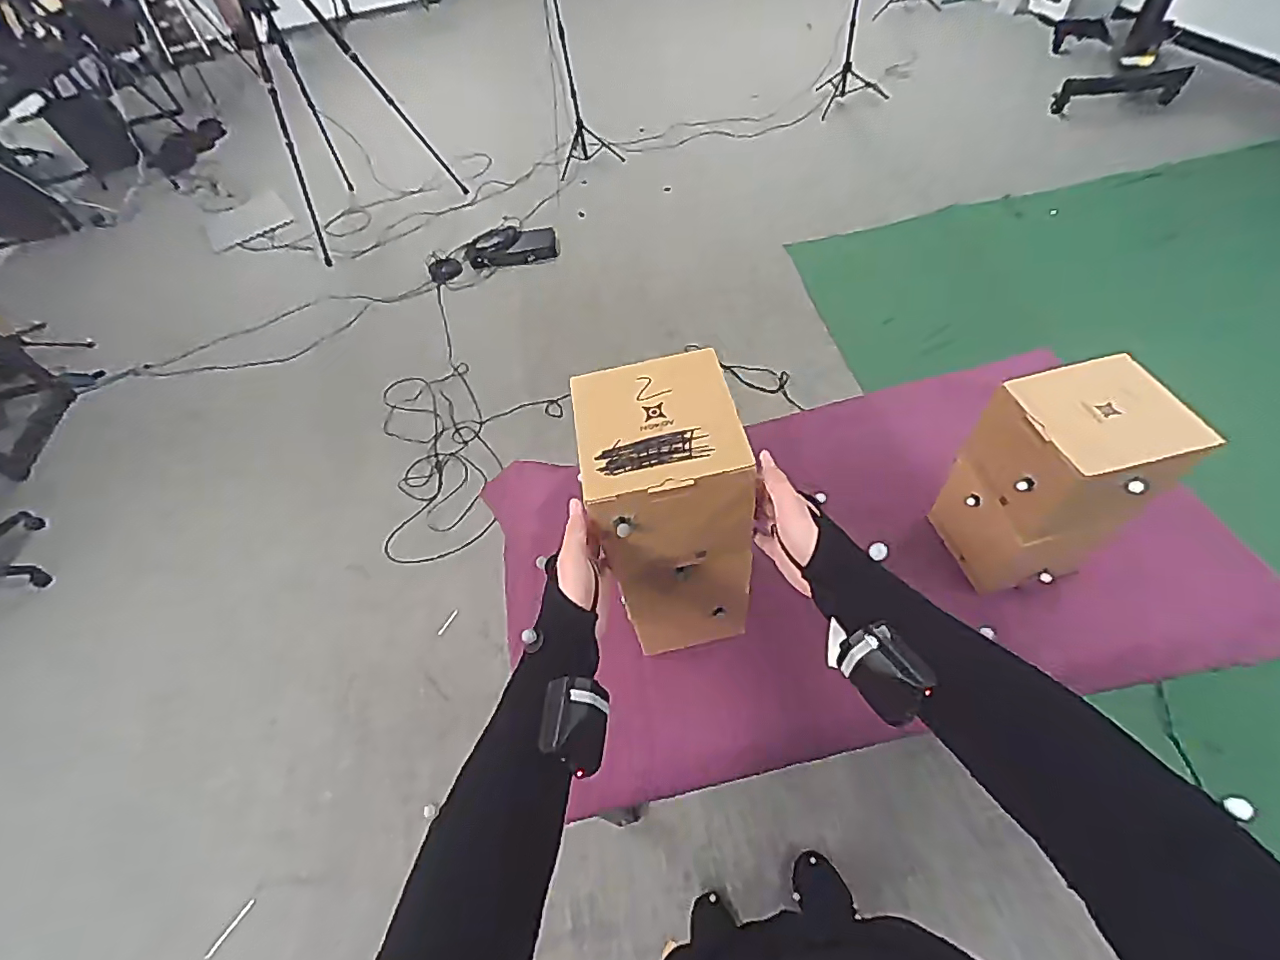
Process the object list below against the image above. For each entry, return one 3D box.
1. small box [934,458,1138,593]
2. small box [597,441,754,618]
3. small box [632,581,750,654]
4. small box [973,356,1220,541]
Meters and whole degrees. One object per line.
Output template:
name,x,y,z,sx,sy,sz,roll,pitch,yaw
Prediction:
small box,0.615,0.060,0.870,0.179,0.176,0.168,-14,53,-1
small box,0.049,0.075,0.759,0.179,0.176,0.168,-14,54,1
small box,0.071,0.167,0.890,0.179,0.176,0.168,-13,53,0
small box,0.592,-0.036,0.740,0.179,0.176,0.168,-14,54,1
